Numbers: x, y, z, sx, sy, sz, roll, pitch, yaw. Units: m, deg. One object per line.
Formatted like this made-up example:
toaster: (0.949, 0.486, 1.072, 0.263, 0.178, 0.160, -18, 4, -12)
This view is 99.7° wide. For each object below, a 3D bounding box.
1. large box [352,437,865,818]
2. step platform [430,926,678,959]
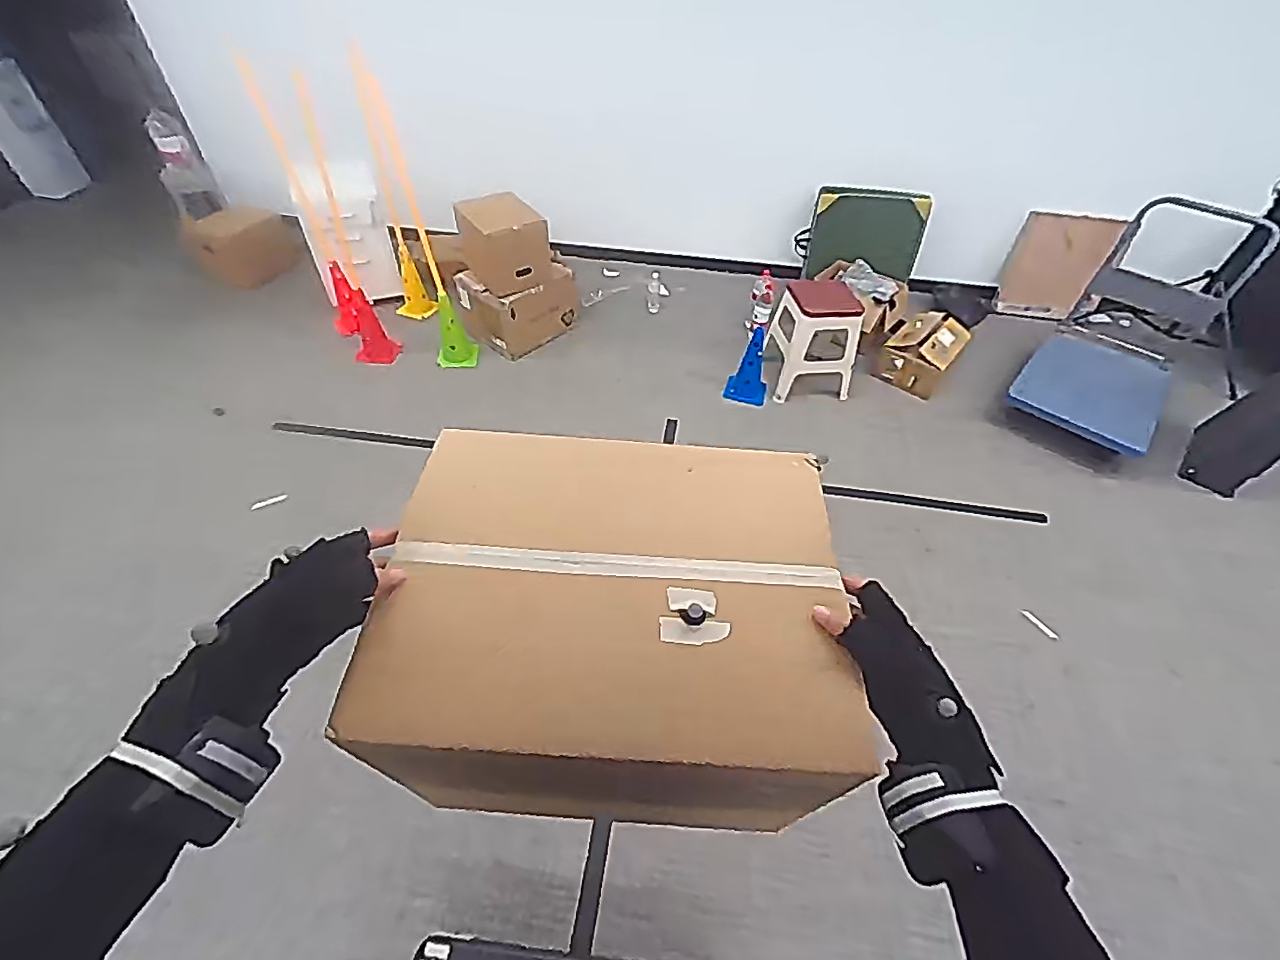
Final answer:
large box: (-0.026, 0.177, 0.619, 0.408, 0.320, 0.320, 5, 51, -1)
step platform: (-0.124, 1.134, 1.101, 0.684, 0.204, 0.286, 7, 47, 2)
